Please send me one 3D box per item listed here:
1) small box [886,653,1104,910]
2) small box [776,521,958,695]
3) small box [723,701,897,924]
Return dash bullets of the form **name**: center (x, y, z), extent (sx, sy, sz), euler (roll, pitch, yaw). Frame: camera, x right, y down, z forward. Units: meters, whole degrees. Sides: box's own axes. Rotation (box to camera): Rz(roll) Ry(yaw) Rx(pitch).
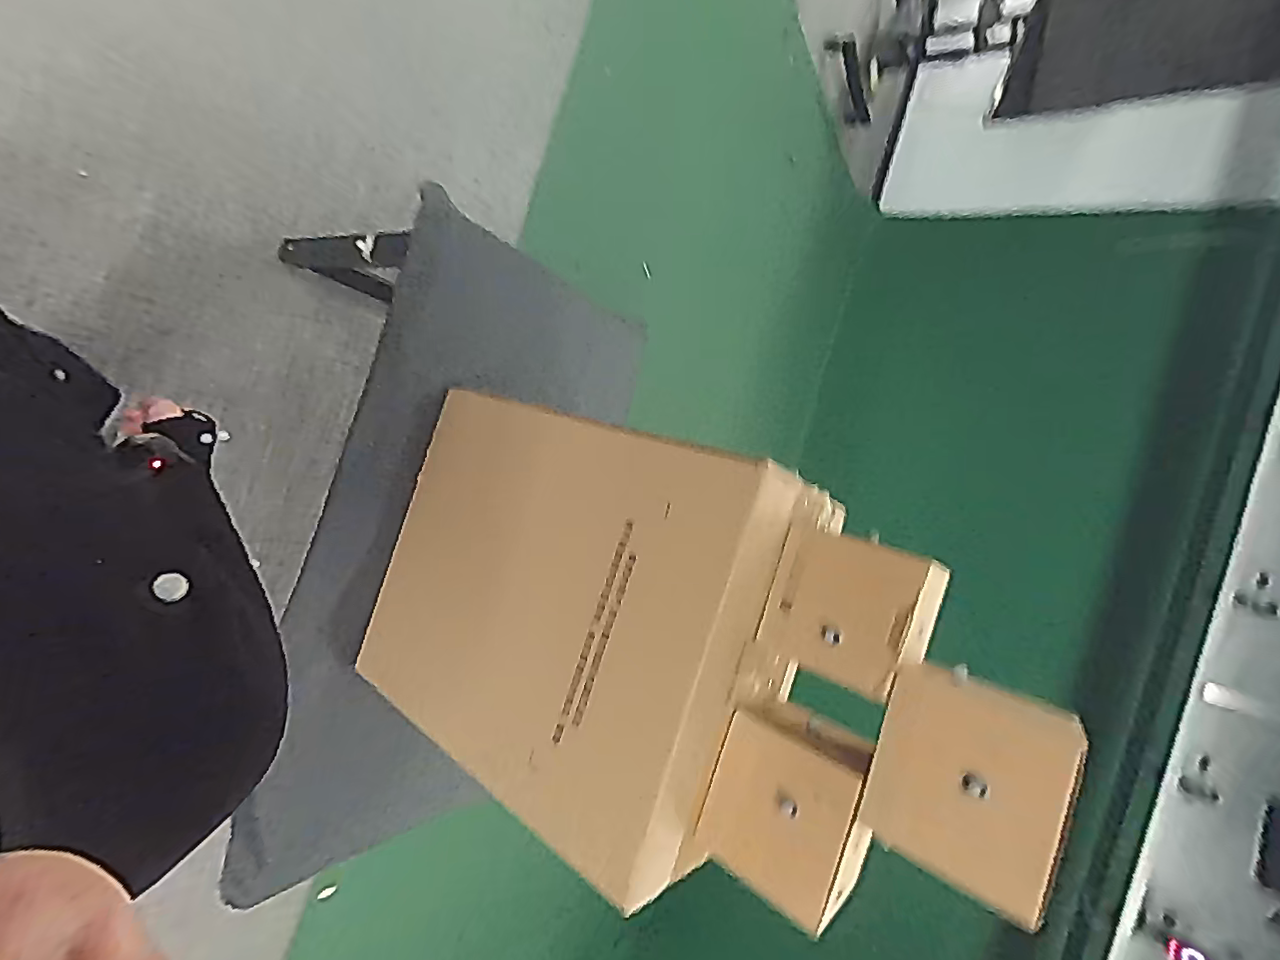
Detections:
- **small box**: center (0.391, 0.314, 0.611), extent (0.168, 0.176, 0.179), euler (18, 86, -53)
- **small box**: center (0.298, 0.159, 0.714), extent (0.179, 0.176, 0.168), euler (18, 89, -55)
- **small box**: center (0.227, 0.405, 0.704), extent (0.168, 0.176, 0.179), euler (21, 84, -52)
